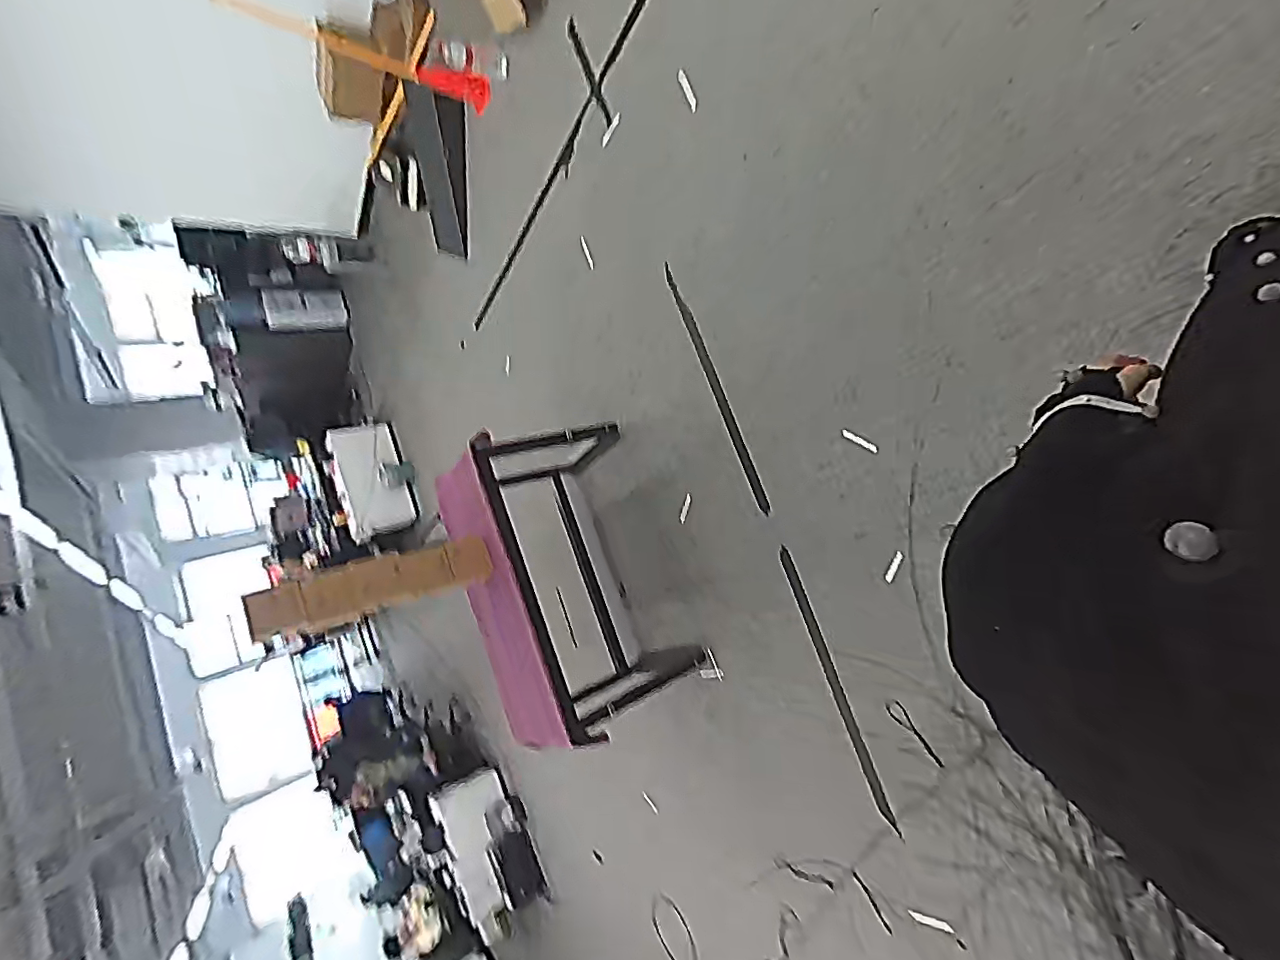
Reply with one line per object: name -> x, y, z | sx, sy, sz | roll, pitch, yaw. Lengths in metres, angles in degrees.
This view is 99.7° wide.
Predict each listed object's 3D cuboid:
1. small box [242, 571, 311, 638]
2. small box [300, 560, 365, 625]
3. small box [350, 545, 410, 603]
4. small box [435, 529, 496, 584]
small box -> -1.243, 0.426, 1.856 | 0.179, 0.176, 0.168 | -37, 71, 52
small box -> -1.111, 0.401, 1.949 | 0.168, 0.176, 0.179 | -35, 74, 52
small box -> -0.981, 0.358, 2.037 | 0.179, 0.176, 0.168 | -34, 75, 52
small box -> -0.719, 0.310, 2.228 | 0.168, 0.176, 0.179 | -34, 75, 53
